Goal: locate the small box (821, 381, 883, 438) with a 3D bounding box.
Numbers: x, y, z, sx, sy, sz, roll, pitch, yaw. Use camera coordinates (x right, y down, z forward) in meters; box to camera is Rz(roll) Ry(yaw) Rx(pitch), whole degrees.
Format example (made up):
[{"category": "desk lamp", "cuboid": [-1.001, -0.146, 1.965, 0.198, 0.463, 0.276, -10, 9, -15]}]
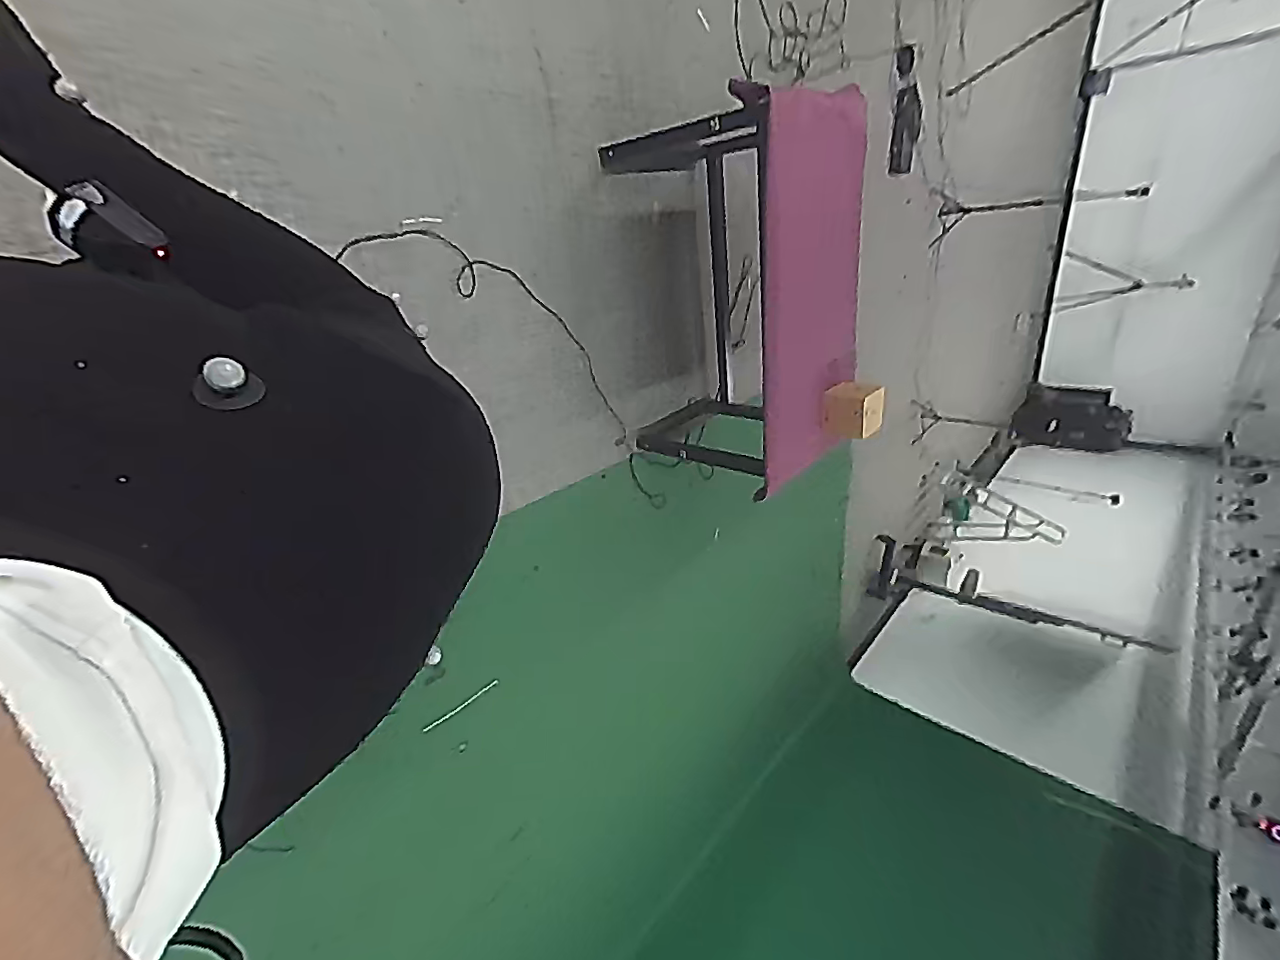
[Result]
[{"category": "small box", "cuboid": [0.819, -0.279, 2.091, 0.179, 0.176, 0.168, -29, 122, -39]}]
